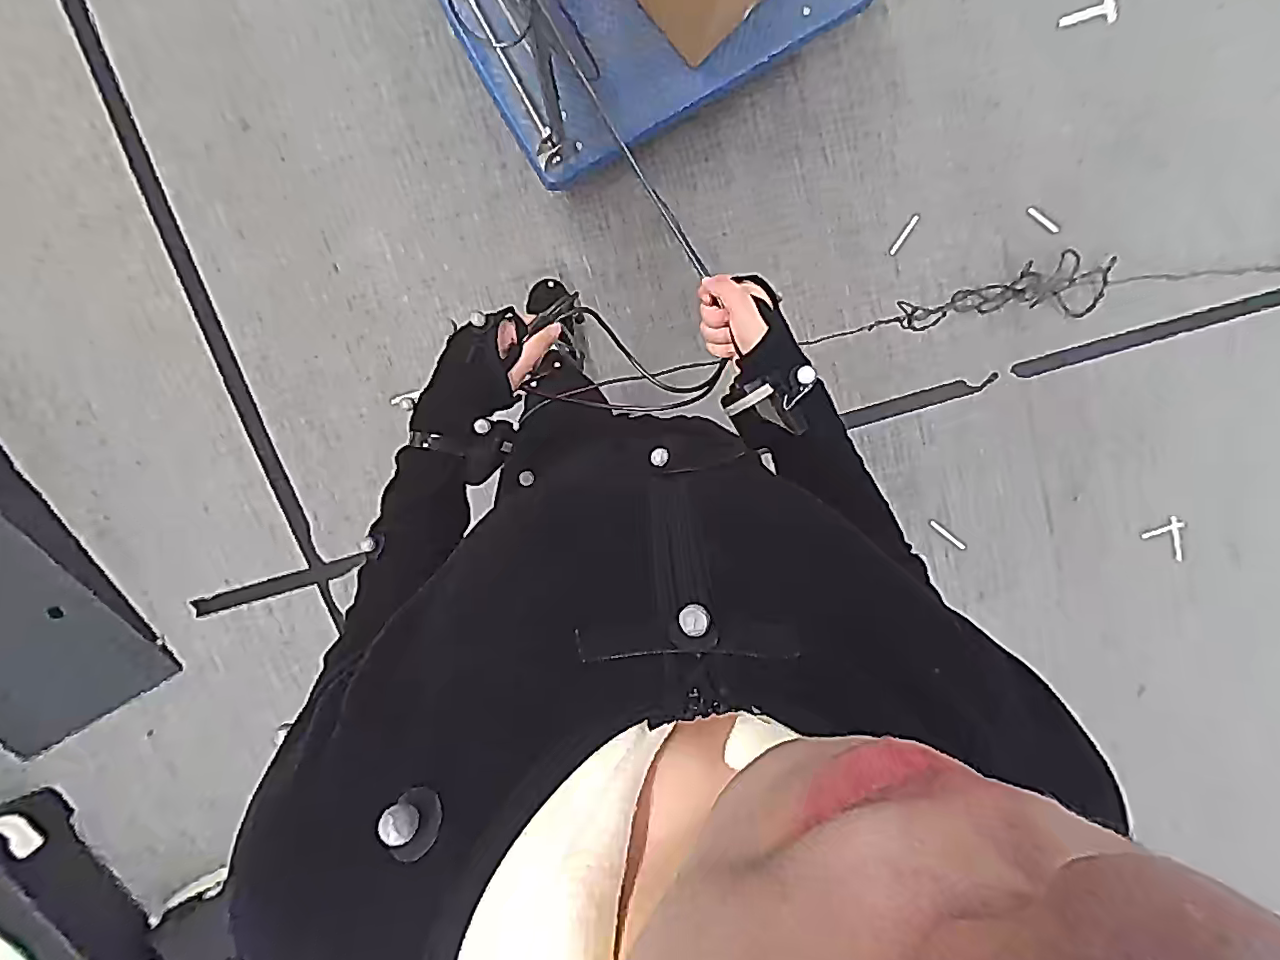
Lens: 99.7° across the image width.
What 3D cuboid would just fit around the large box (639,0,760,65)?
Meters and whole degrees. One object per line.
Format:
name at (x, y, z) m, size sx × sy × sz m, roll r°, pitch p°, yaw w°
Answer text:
large box at (0.101, -1.111, 0.986) m, size 0.320 × 0.320 × 0.408 m, roll -45°, pitch 101°, yaw 4°
